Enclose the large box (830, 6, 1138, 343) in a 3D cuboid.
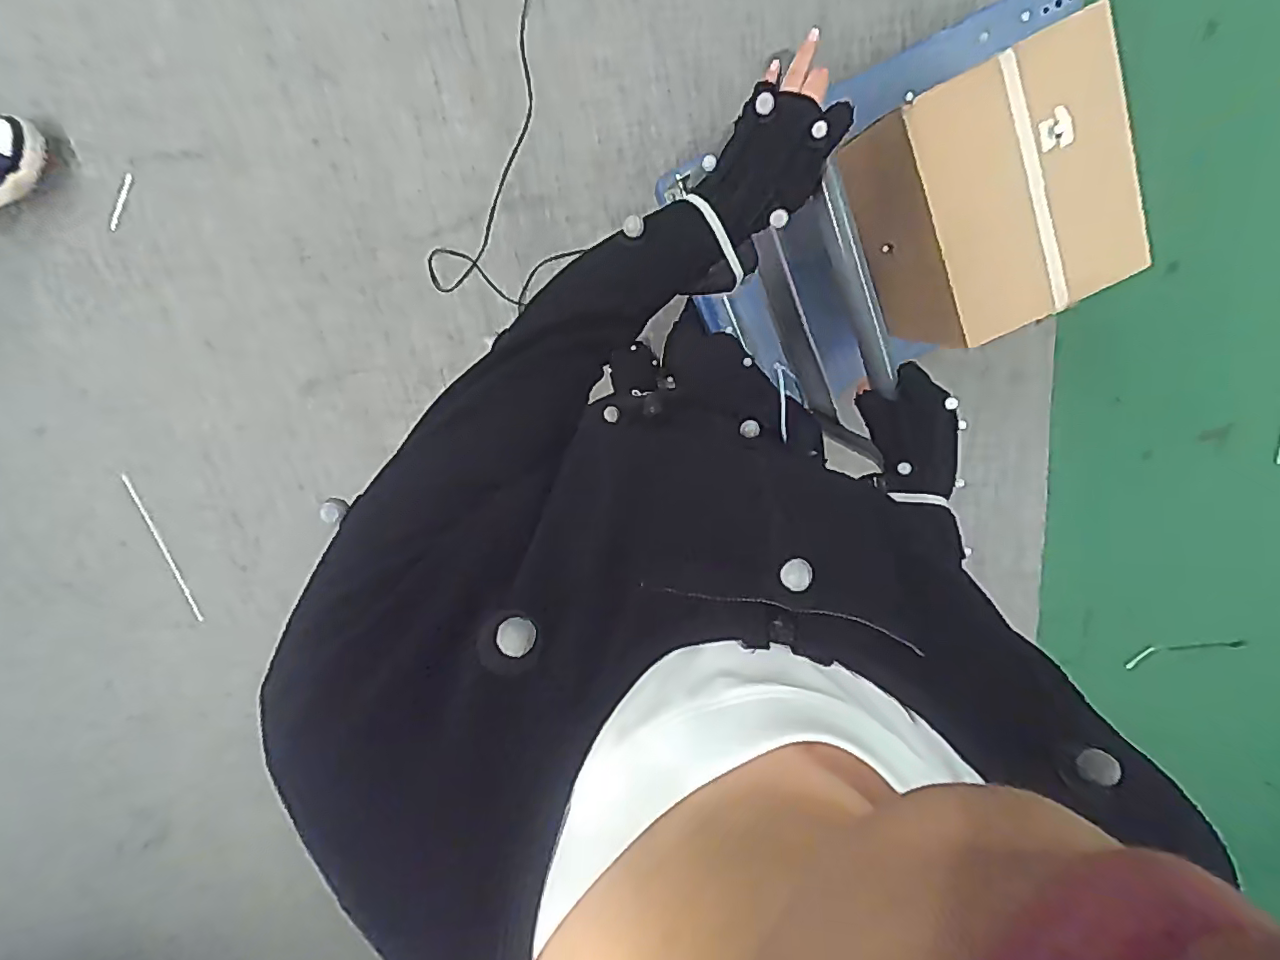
[{"bbox_3d":[0.610,-0.514,1.010,0.320,0.320,0.408,-25,107,7],"label":"large box"}]
